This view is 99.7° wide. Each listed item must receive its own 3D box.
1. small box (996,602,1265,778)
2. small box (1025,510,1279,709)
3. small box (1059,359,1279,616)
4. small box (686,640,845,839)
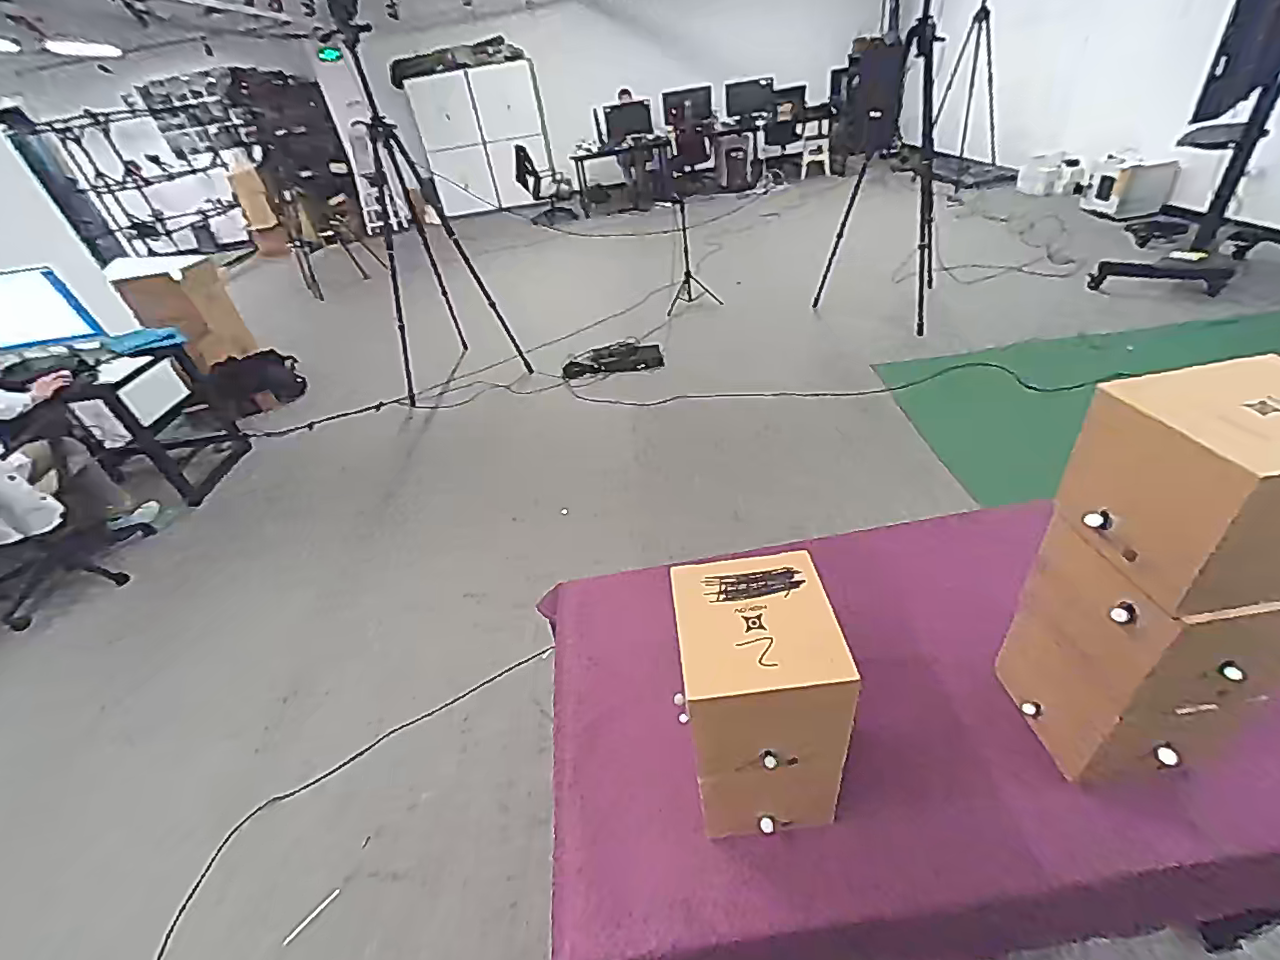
[{"bbox_3d":[0.615,0.268,0.711,0.168,0.176,0.179,-9,37,1],"label":"small box"},{"bbox_3d":[0.588,0.138,0.613,0.168,0.176,0.179,-9,36,1],"label":"small box"},{"bbox_3d":[0.561,0.007,0.519,0.179,0.176,0.168,-10,35,2],"label":"small box"},{"bbox_3d":[0.155,0.343,0.720,0.168,0.176,0.179,-8,38,2],"label":"small box"}]
